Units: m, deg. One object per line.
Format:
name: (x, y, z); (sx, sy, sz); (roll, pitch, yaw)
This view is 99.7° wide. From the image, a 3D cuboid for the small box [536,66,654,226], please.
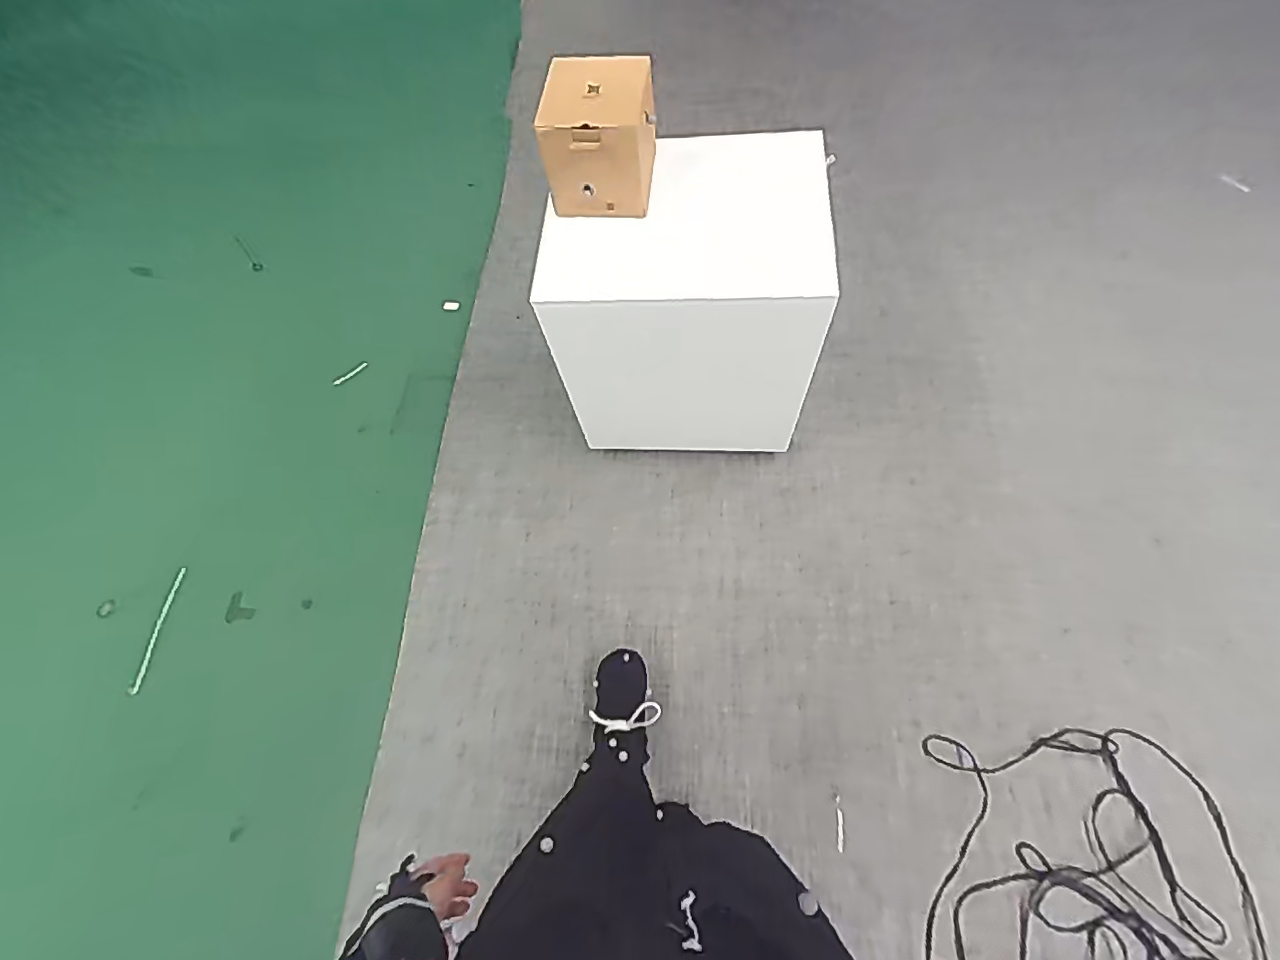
small box: (-0.067, -0.575, 0.937); (0.168, 0.176, 0.179); (4, 67, 6)
